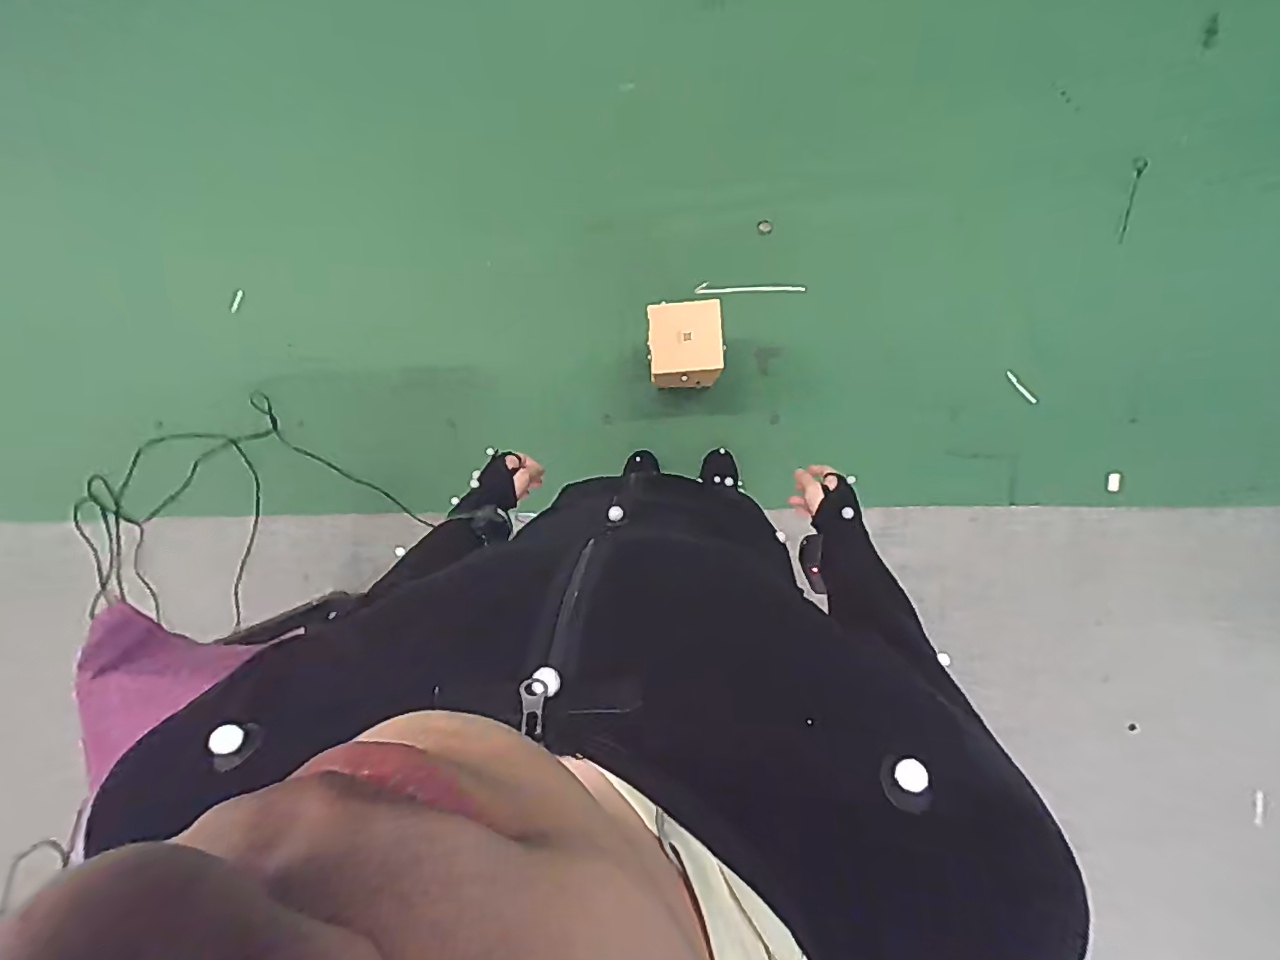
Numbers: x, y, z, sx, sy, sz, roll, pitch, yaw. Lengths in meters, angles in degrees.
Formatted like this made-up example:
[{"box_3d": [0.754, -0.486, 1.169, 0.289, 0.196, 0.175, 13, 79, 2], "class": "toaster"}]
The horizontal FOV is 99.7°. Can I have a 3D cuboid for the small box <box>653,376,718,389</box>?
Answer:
[{"box_3d": [0.128, -0.348, 1.528, 0.179, 0.176, 0.168, -1, 93, 5], "class": "small box"}]

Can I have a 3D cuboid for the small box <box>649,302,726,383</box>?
[{"box_3d": [0.121, -0.340, 1.365, 0.179, 0.176, 0.168, -4, 93, 7], "class": "small box"}]
